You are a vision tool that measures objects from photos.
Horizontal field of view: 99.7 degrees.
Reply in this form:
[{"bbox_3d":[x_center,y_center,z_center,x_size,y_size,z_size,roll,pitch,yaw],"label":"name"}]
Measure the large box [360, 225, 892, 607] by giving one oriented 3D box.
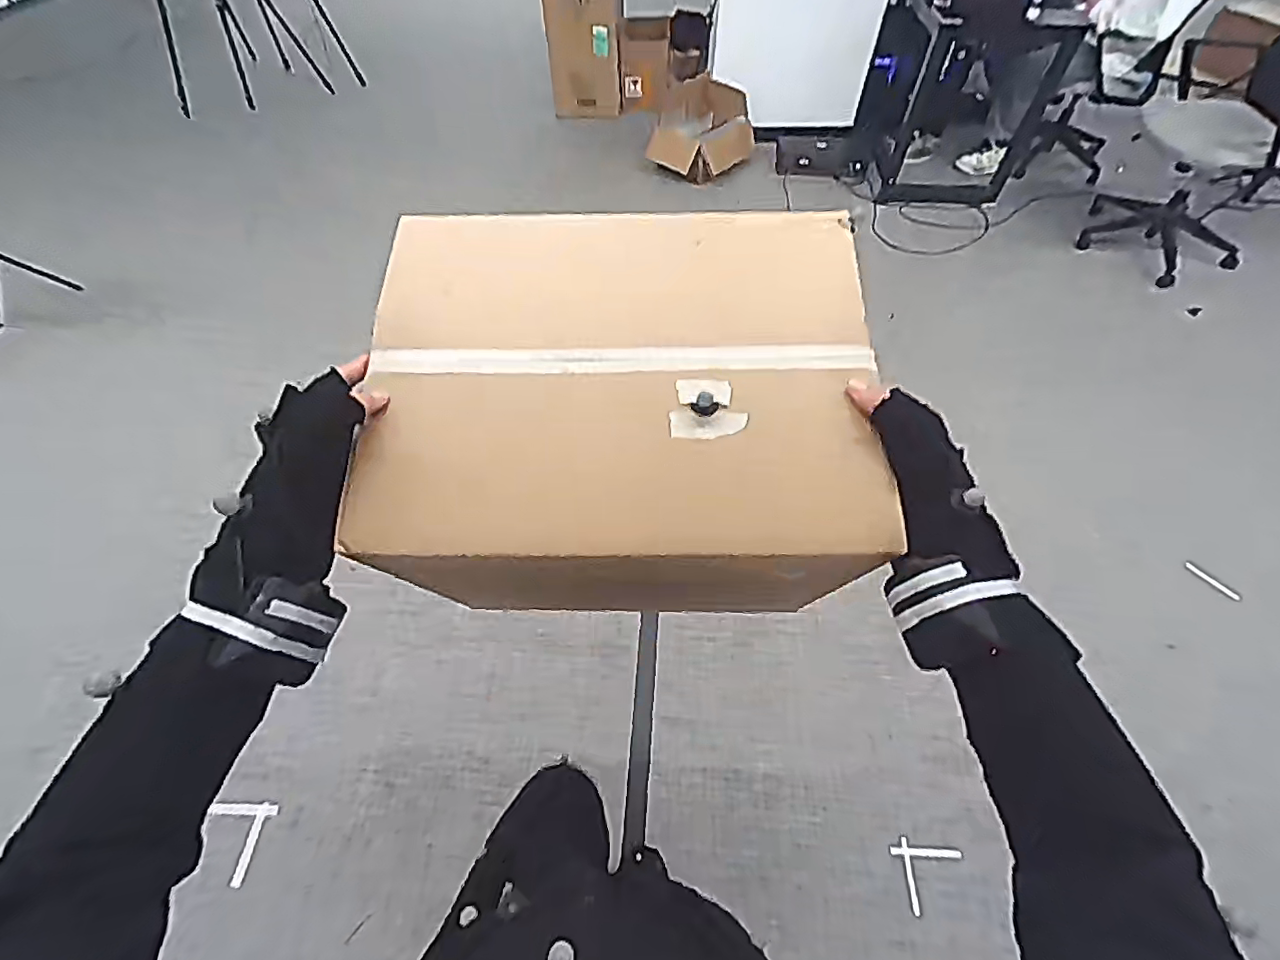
[{"bbox_3d":[-0.011,-0.041,0.590,0.408,0.320,0.320,0,69,1],"label":"large box"}]
